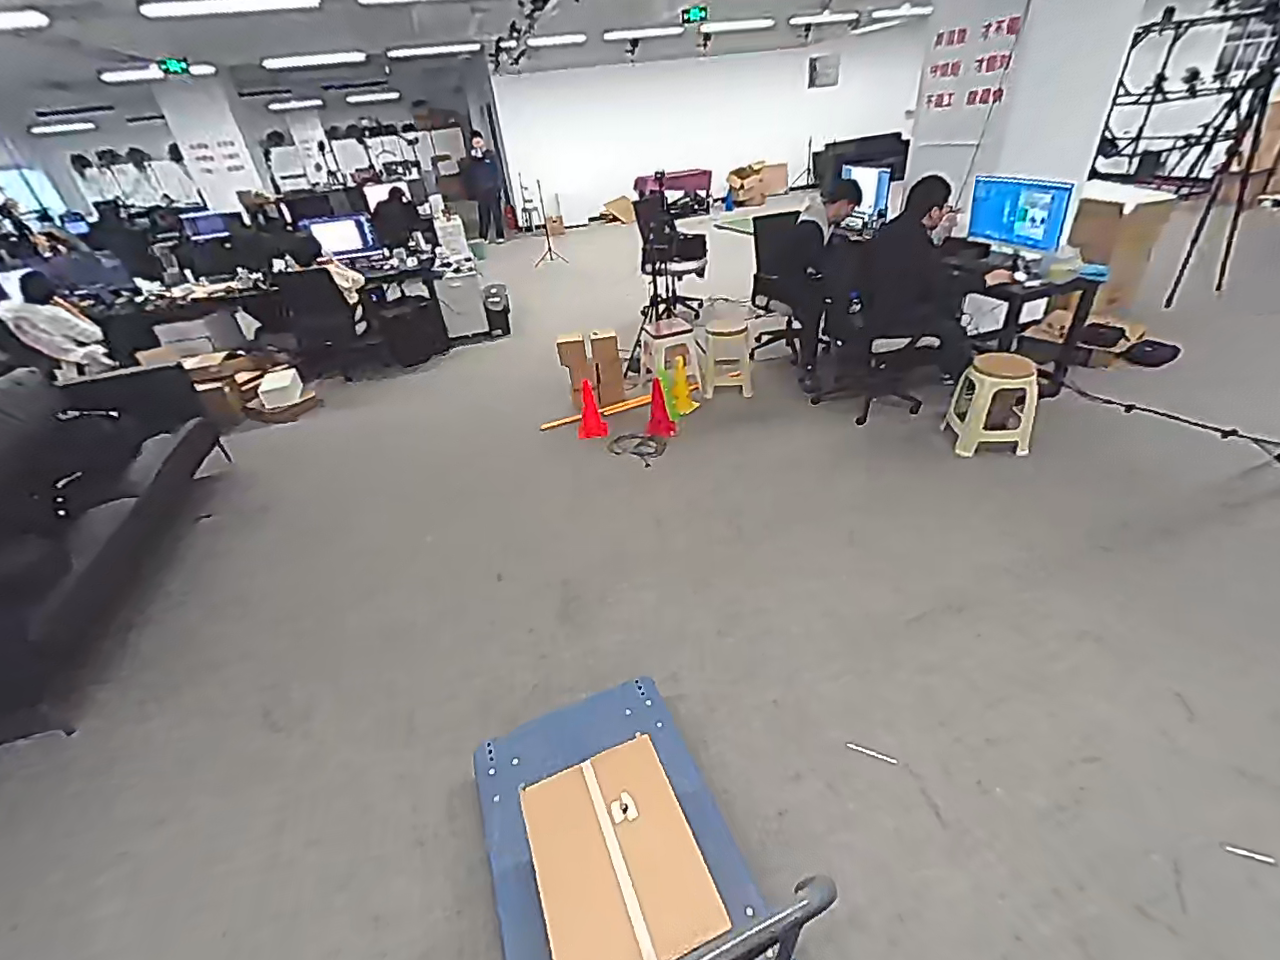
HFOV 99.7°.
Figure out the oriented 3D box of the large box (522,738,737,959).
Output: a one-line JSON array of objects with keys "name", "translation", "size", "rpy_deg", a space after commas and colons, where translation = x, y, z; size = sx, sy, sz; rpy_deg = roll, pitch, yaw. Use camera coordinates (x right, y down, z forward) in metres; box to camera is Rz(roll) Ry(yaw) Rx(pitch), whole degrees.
[{"name": "large box", "translation": [-0.026, 0.864, 1.152], "size": [0.320, 0.320, 0.408], "rpy_deg": [-18, 34, -15]}]
